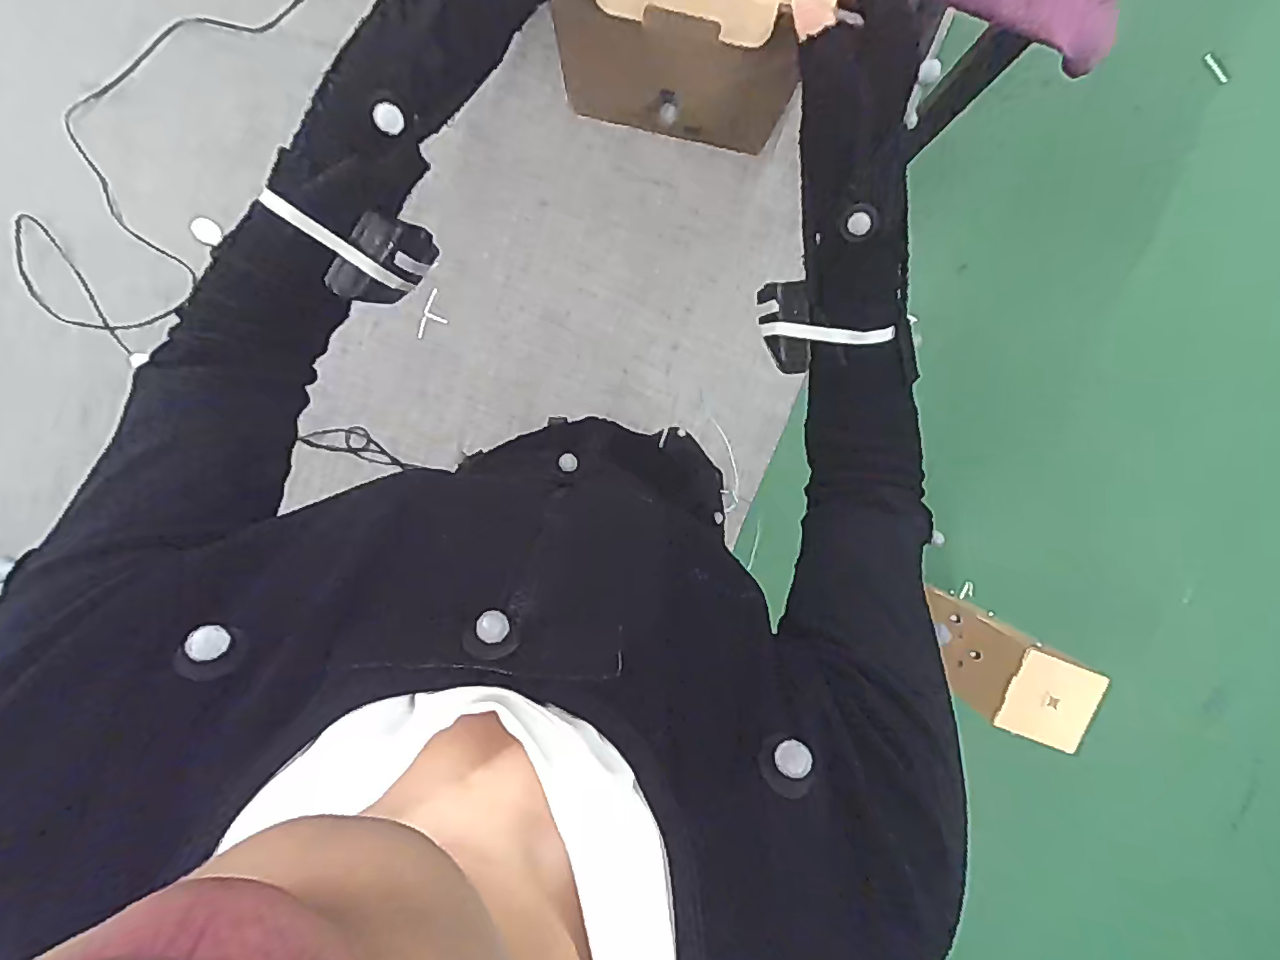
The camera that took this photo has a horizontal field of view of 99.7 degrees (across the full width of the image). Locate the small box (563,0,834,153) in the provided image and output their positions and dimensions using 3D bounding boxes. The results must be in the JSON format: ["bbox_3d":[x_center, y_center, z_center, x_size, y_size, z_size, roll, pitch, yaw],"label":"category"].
[{"bbox_3d":[0.042,-0.365,0.367,0.168,0.176,0.179,12,98,-3],"label":"small box"}]

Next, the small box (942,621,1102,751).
[{"bbox_3d":[0.776,0.414,1.117,0.179,0.176,0.168,21,96,-3],"label":"small box"}]

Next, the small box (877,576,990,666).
[{"bbox_3d":[0.771,0.374,1.442,0.179,0.176,0.168,24,96,-4],"label":"small box"}]
